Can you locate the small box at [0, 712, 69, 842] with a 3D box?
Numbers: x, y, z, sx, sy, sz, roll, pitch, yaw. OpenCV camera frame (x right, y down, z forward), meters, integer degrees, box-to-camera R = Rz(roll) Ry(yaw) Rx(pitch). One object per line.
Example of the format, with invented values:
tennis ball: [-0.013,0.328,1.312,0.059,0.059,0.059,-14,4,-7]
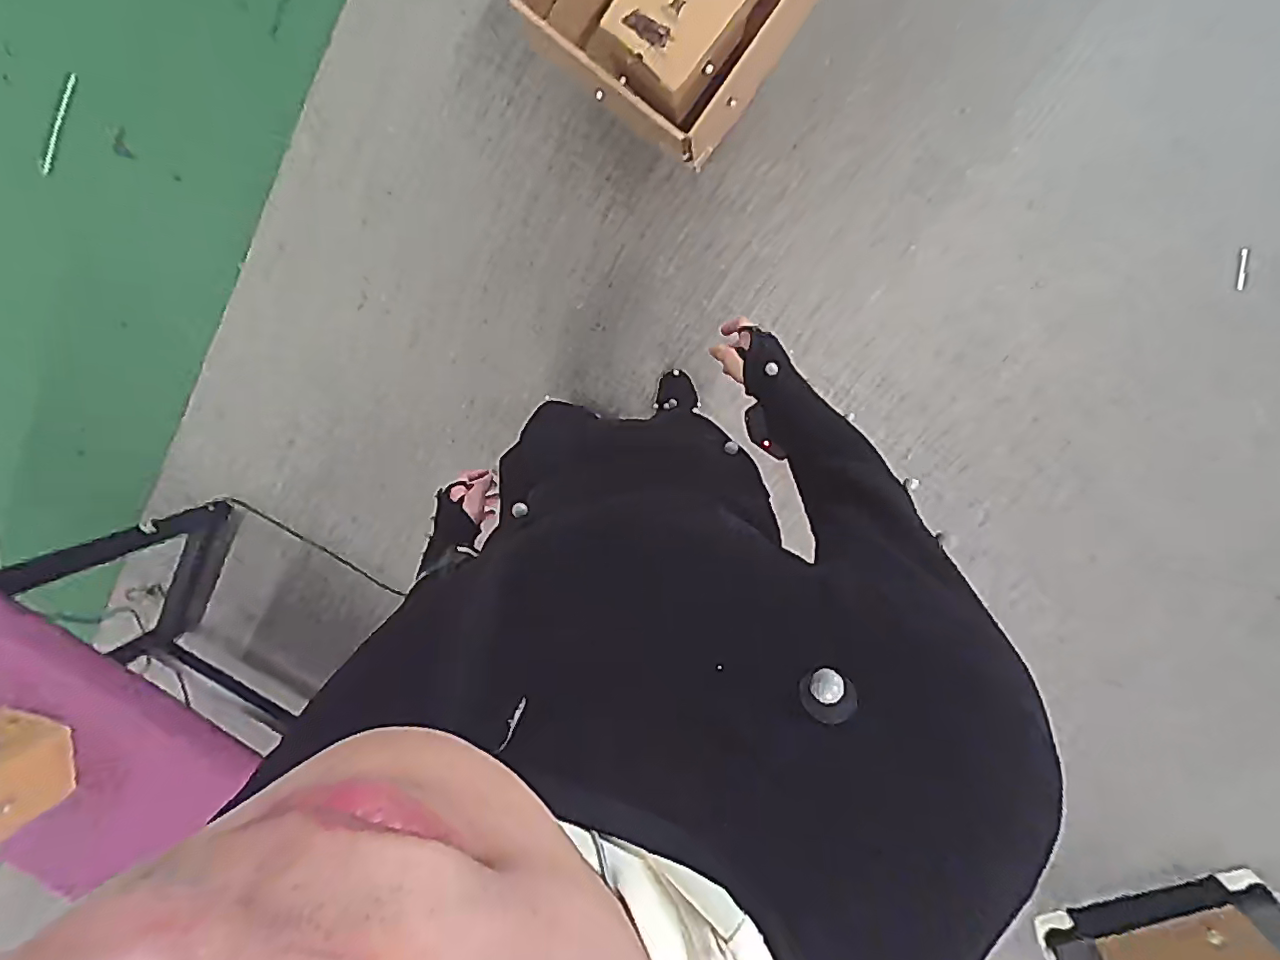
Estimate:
small box: [-1.316,0.602,1.087,0.168,0.176,0.179,13,105,3]
